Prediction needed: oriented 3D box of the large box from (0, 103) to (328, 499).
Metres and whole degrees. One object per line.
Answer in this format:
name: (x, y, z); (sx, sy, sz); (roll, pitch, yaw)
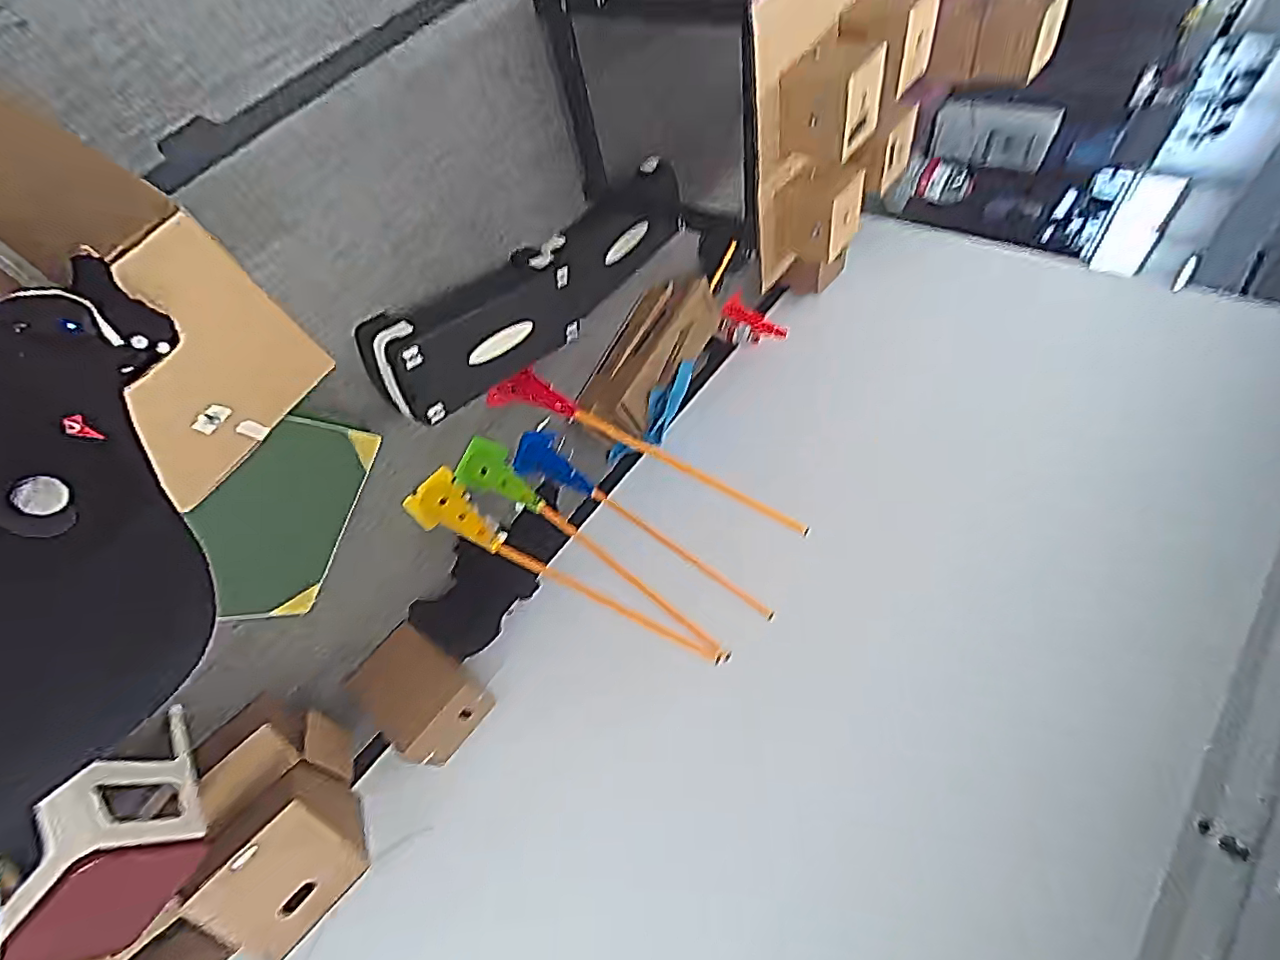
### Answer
large box: (-0.754, -0.230, 0.745); (0.320, 0.408, 0.320); (-55, 166, -15)
